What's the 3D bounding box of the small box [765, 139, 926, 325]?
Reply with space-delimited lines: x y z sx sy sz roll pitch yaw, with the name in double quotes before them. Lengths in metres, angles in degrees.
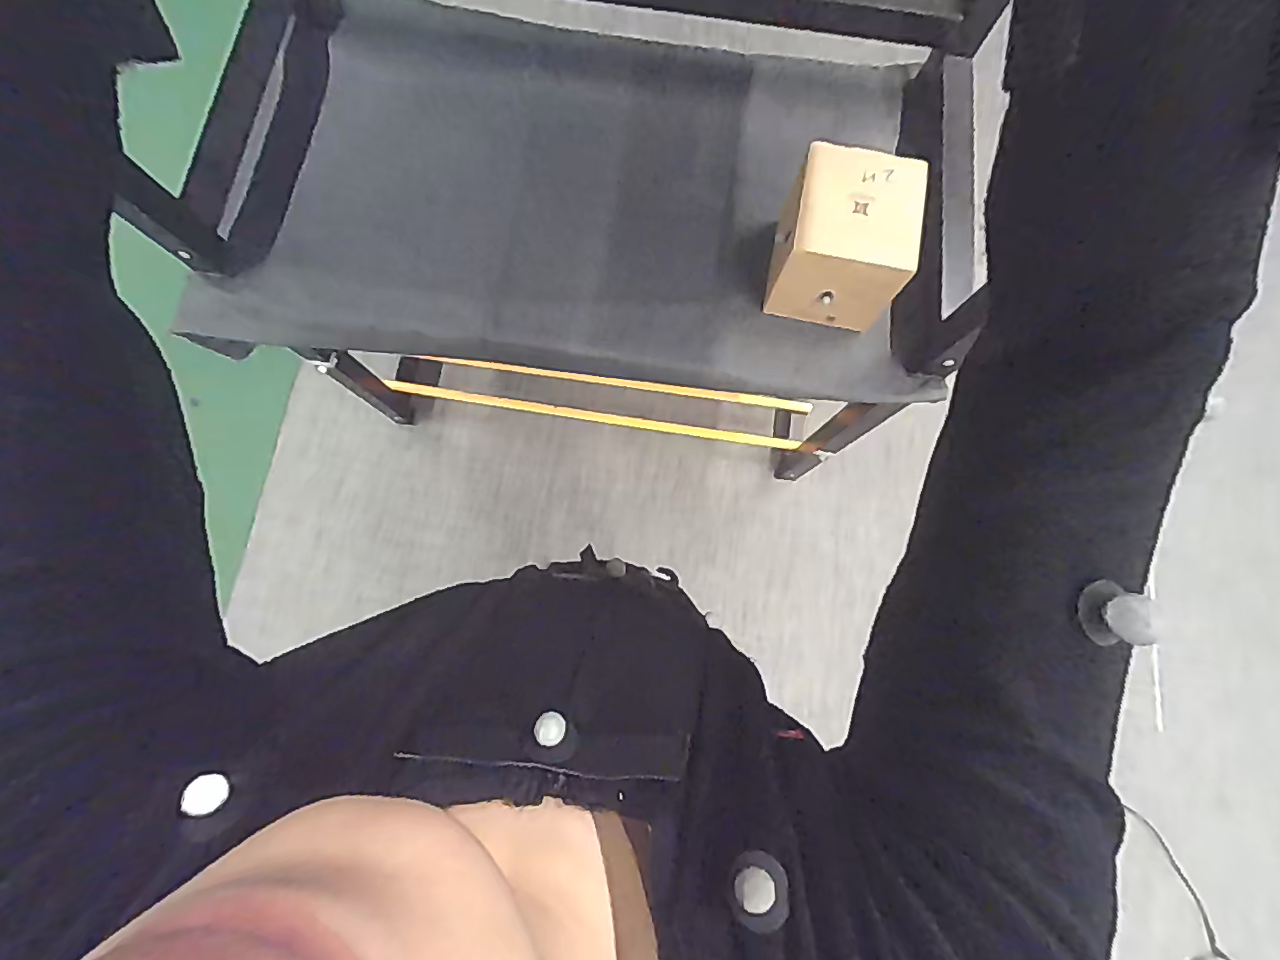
"small box" 0.293 -0.354 0.801 0.168 0.176 0.179 12 78 1
